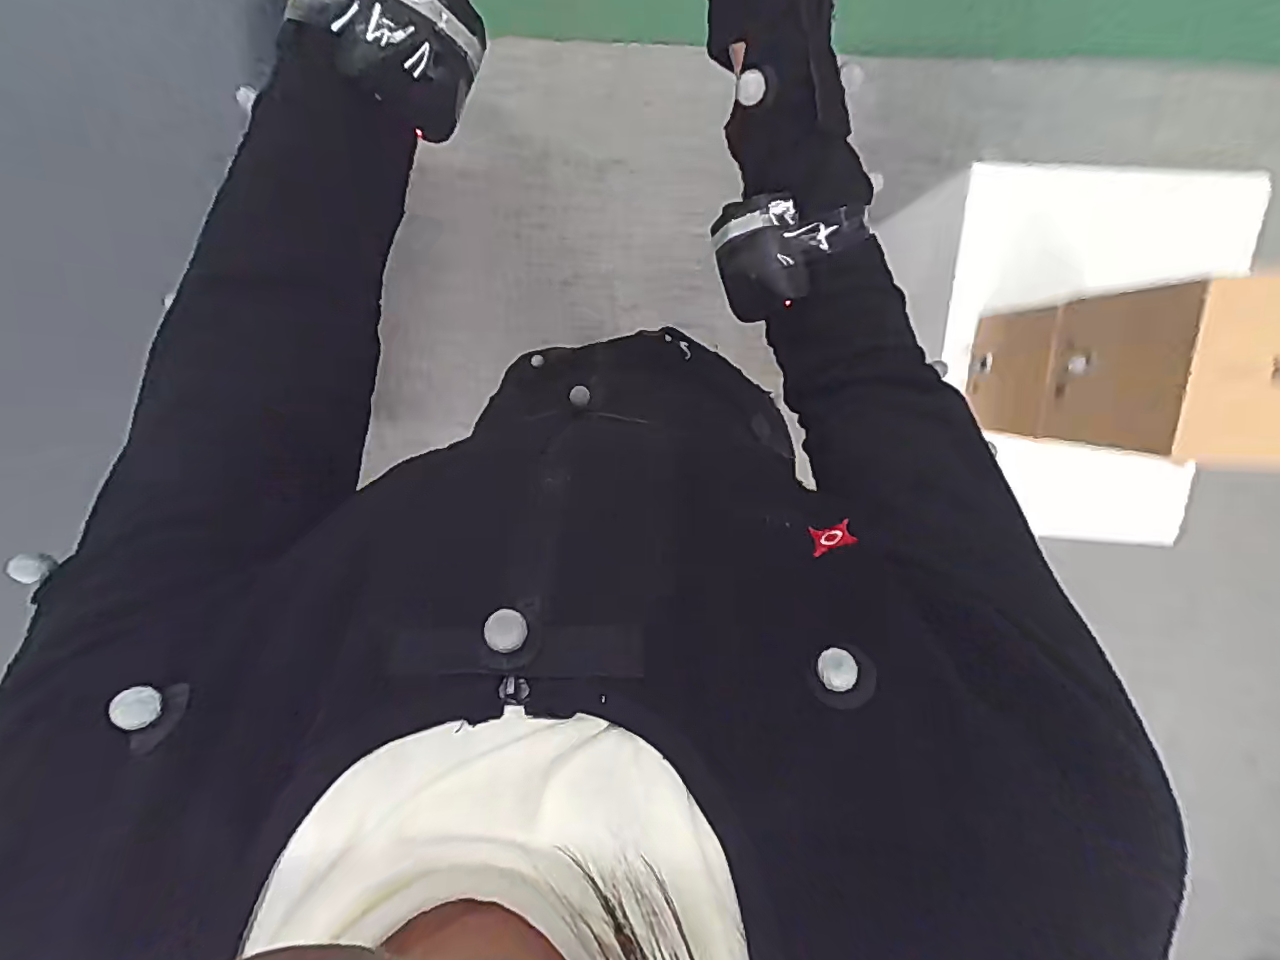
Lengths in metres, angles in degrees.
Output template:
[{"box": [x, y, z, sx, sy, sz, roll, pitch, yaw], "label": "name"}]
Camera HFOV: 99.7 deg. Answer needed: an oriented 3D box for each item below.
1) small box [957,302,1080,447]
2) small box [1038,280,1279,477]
[{"box": [0.551, -0.132, 0.696, 0.179, 0.176, 0.168, 2, 101, 2], "label": "small box"}, {"box": [0.550, -0.100, 0.535, 0.179, 0.176, 0.168, 0, 102, 0], "label": "small box"}]
